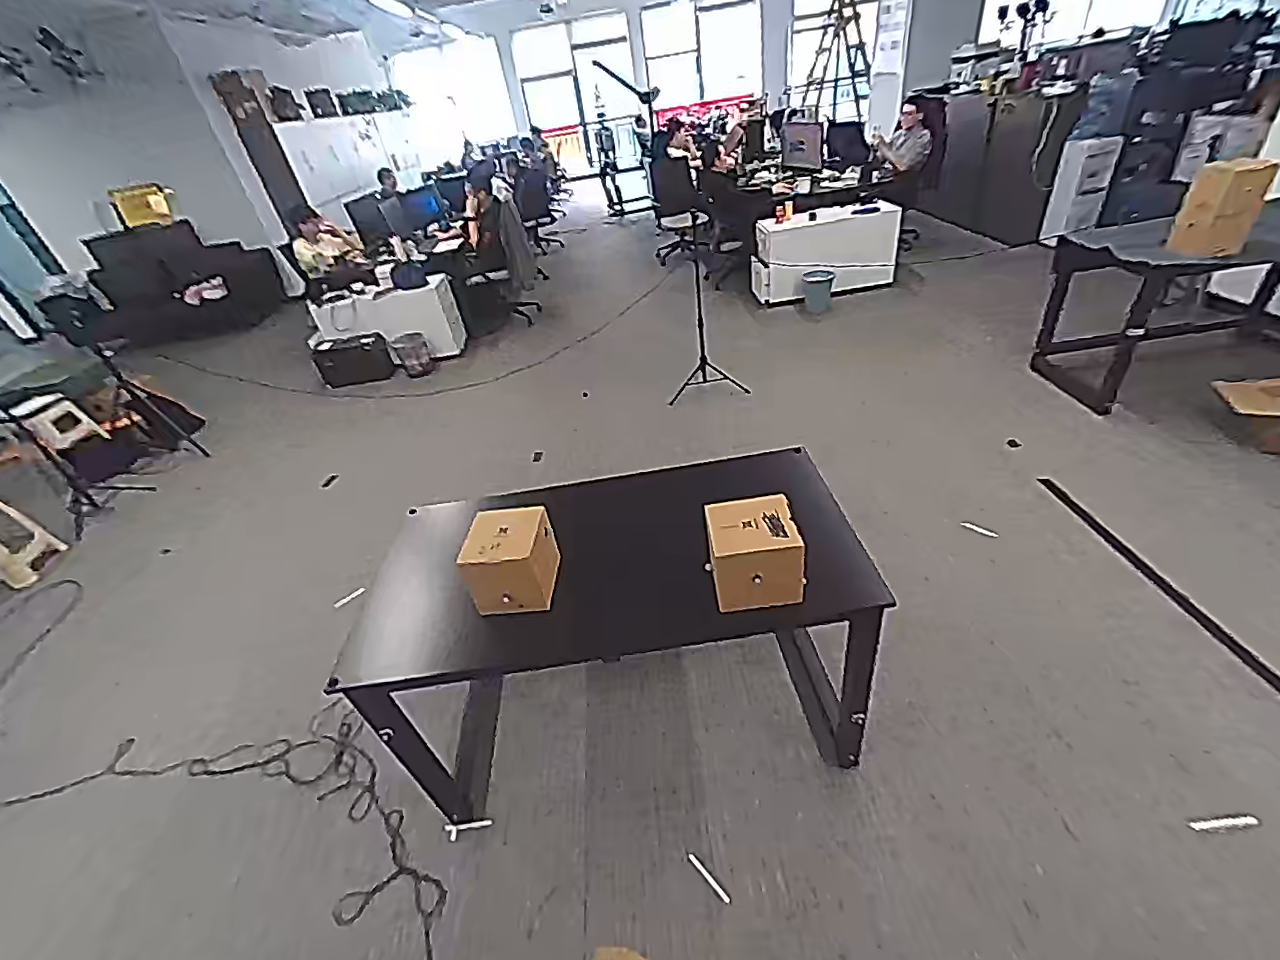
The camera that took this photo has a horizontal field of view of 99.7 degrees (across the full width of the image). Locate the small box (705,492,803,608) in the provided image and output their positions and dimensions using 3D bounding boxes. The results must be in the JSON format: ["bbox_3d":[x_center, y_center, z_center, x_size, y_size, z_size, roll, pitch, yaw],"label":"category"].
[{"bbox_3d":[0.239,0.150,1.153,0.179,0.176,0.168,-9,35,5],"label":"small box"}]

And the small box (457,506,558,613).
[{"bbox_3d":[-0.295,0.182,1.249,0.168,0.176,0.179,-6,36,7],"label":"small box"}]
